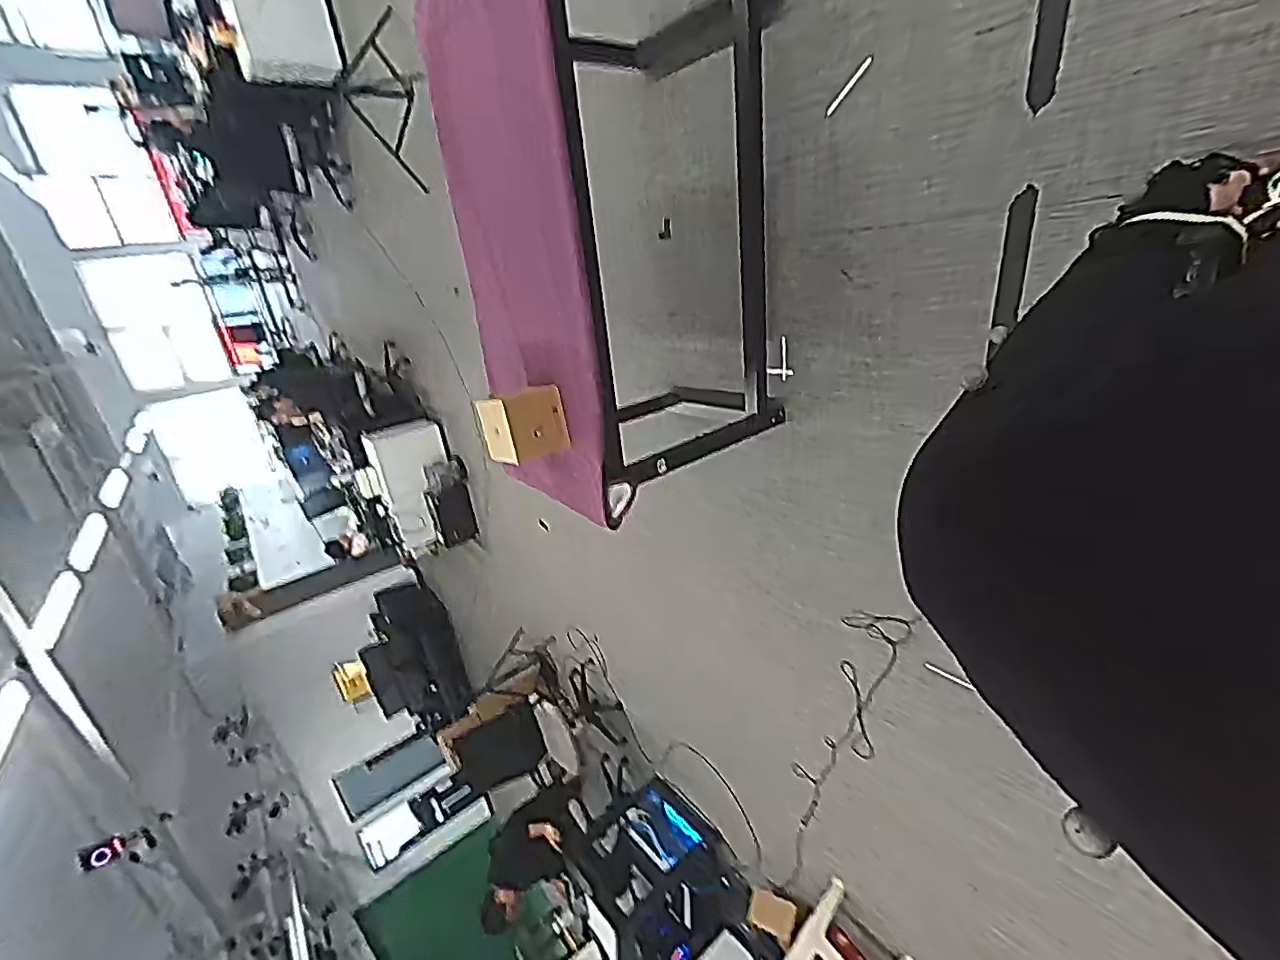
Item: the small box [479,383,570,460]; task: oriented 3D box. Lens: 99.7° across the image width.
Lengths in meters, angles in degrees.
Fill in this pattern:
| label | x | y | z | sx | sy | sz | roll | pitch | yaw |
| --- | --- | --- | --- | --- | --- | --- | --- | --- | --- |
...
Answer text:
| label | x | y | z | sx | sy | sz | roll | pitch | yaw |
| --- | --- | --- | --- | --- | --- | --- | --- | --- | --- |
| small box | -0.302 | -0.162 | 1.453 | 0.179 | 0.176 | 0.168 | 10 | 117 | 52 |
